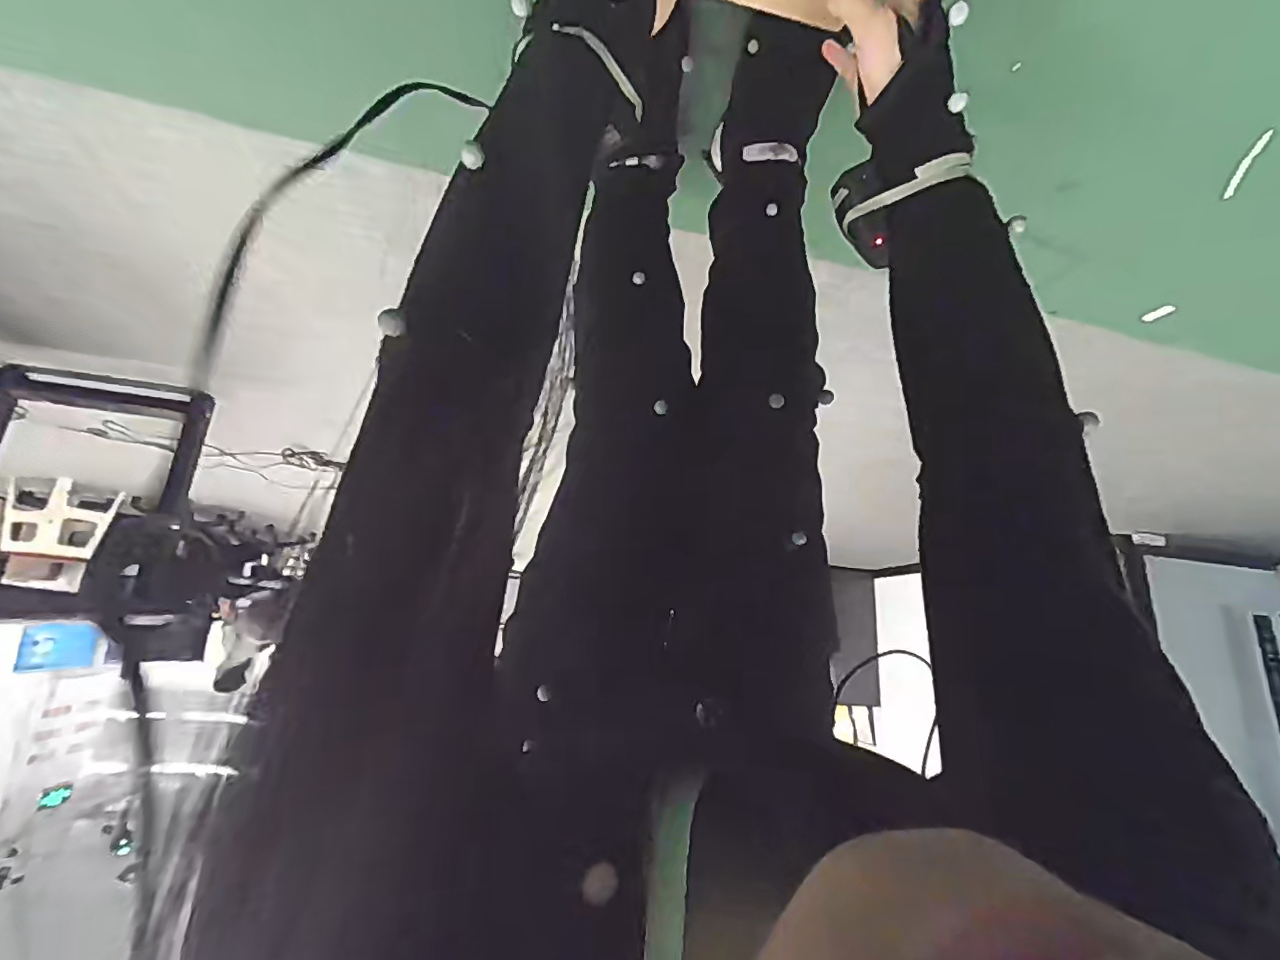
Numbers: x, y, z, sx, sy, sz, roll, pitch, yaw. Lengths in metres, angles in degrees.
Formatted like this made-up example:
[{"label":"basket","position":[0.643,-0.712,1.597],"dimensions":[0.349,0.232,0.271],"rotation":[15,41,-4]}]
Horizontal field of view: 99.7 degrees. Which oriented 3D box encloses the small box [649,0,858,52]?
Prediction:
[{"label":"small box","position":[0.102,-0.467,0.380],"dimensions":[0.168,0.176,0.179],"rotation":[4,164,-13]}]
